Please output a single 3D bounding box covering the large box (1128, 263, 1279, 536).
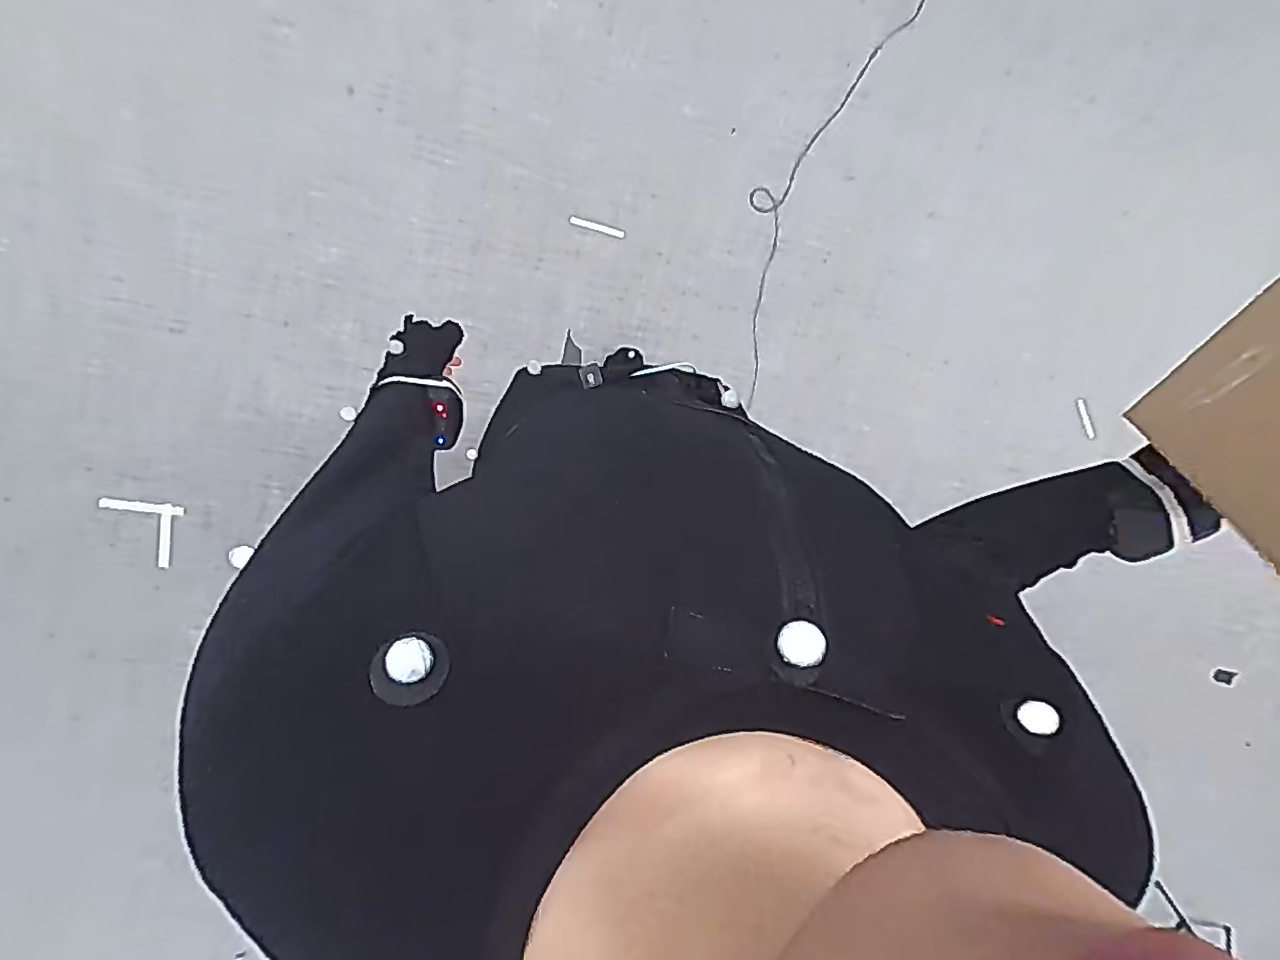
[{"bbox_3d":[0.484,-0.011,0.162,0.320,0.408,0.320,36,125,7],"label":"large box"}]
